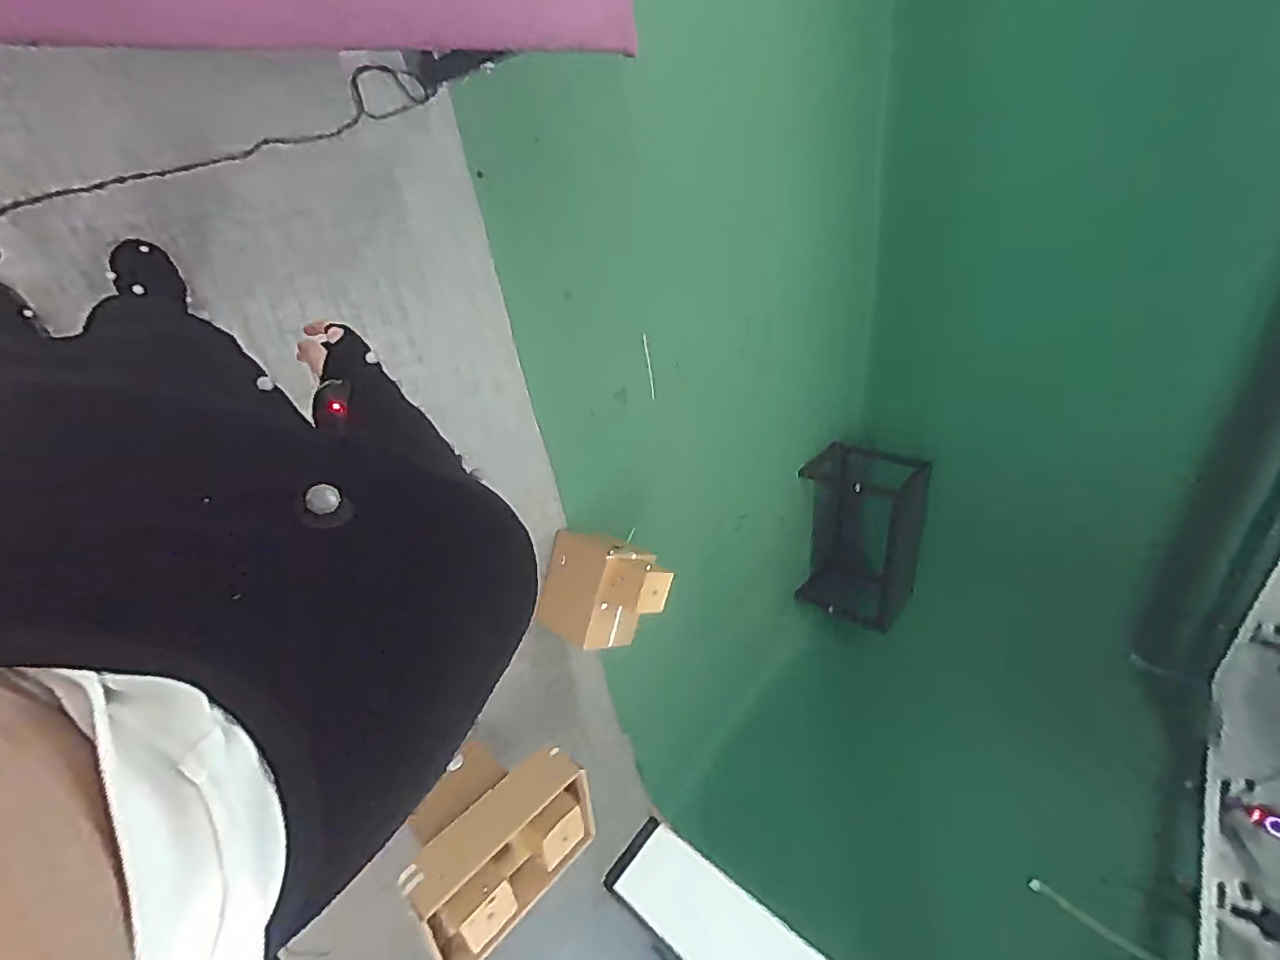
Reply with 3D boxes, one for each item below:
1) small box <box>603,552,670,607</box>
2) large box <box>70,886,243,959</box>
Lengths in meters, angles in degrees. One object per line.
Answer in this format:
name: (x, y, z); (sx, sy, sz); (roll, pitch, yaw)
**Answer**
small box: (-0.017, 0.391, 2.150); (0.179, 0.176, 0.168); (13, 96, -50)
large box: (-1.314, 1.409, 1.414); (0.408, 0.320, 0.320); (-9, 112, -49)
